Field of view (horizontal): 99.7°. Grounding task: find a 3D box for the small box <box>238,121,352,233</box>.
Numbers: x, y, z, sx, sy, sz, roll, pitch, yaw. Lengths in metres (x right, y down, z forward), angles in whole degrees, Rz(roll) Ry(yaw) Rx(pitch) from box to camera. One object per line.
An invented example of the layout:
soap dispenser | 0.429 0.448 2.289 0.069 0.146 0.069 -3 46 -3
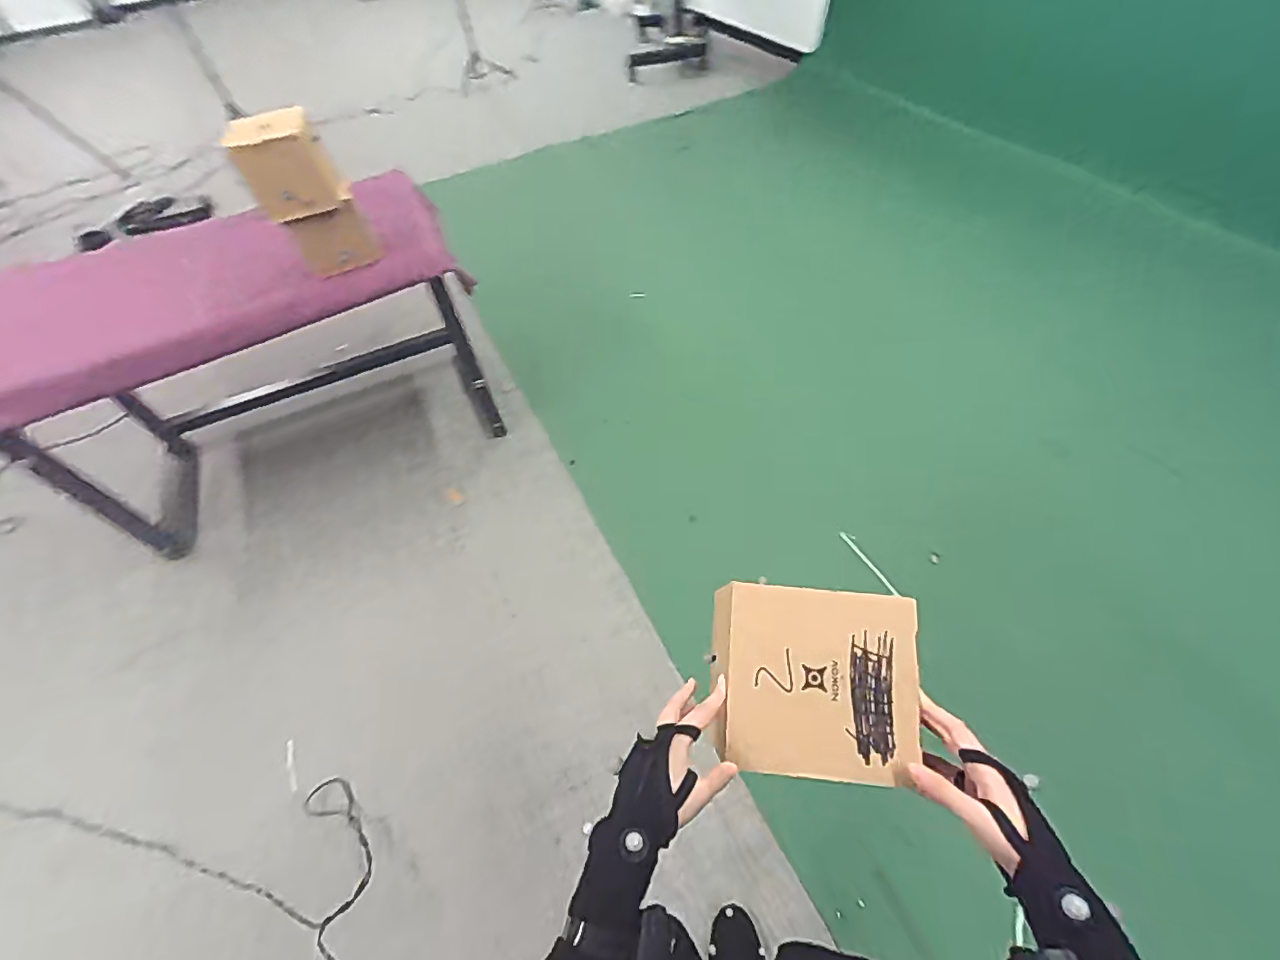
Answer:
small box | -0.817 -0.726 1.299 0.168 0.176 0.179 -18 53 -7

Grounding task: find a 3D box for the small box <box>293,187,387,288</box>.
small box | -0.798 -0.644 1.442 0.179 0.176 0.168 -24 52 -12
